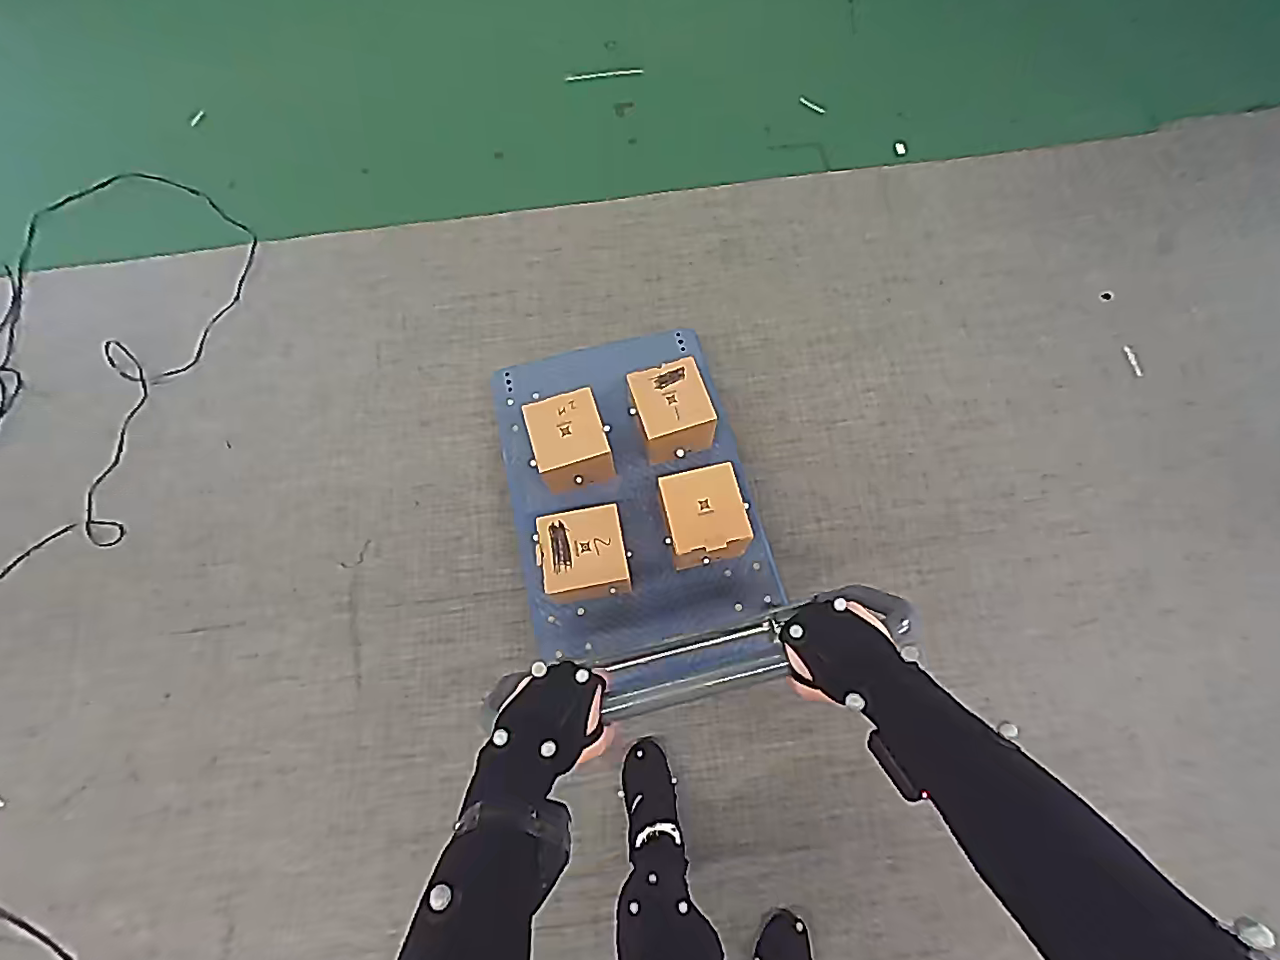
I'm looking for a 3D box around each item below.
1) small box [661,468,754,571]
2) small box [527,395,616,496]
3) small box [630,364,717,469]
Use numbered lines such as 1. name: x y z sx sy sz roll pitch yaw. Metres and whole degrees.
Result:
1. small box: 0.145 0.095 1.238 0.168 0.176 0.179 -13 70 -3
2. small box: -0.160 -0.074 1.312 0.168 0.176 0.179 -17 70 -5
3. small box: 0.079 -0.150 1.330 0.168 0.176 0.179 -17 71 -3
